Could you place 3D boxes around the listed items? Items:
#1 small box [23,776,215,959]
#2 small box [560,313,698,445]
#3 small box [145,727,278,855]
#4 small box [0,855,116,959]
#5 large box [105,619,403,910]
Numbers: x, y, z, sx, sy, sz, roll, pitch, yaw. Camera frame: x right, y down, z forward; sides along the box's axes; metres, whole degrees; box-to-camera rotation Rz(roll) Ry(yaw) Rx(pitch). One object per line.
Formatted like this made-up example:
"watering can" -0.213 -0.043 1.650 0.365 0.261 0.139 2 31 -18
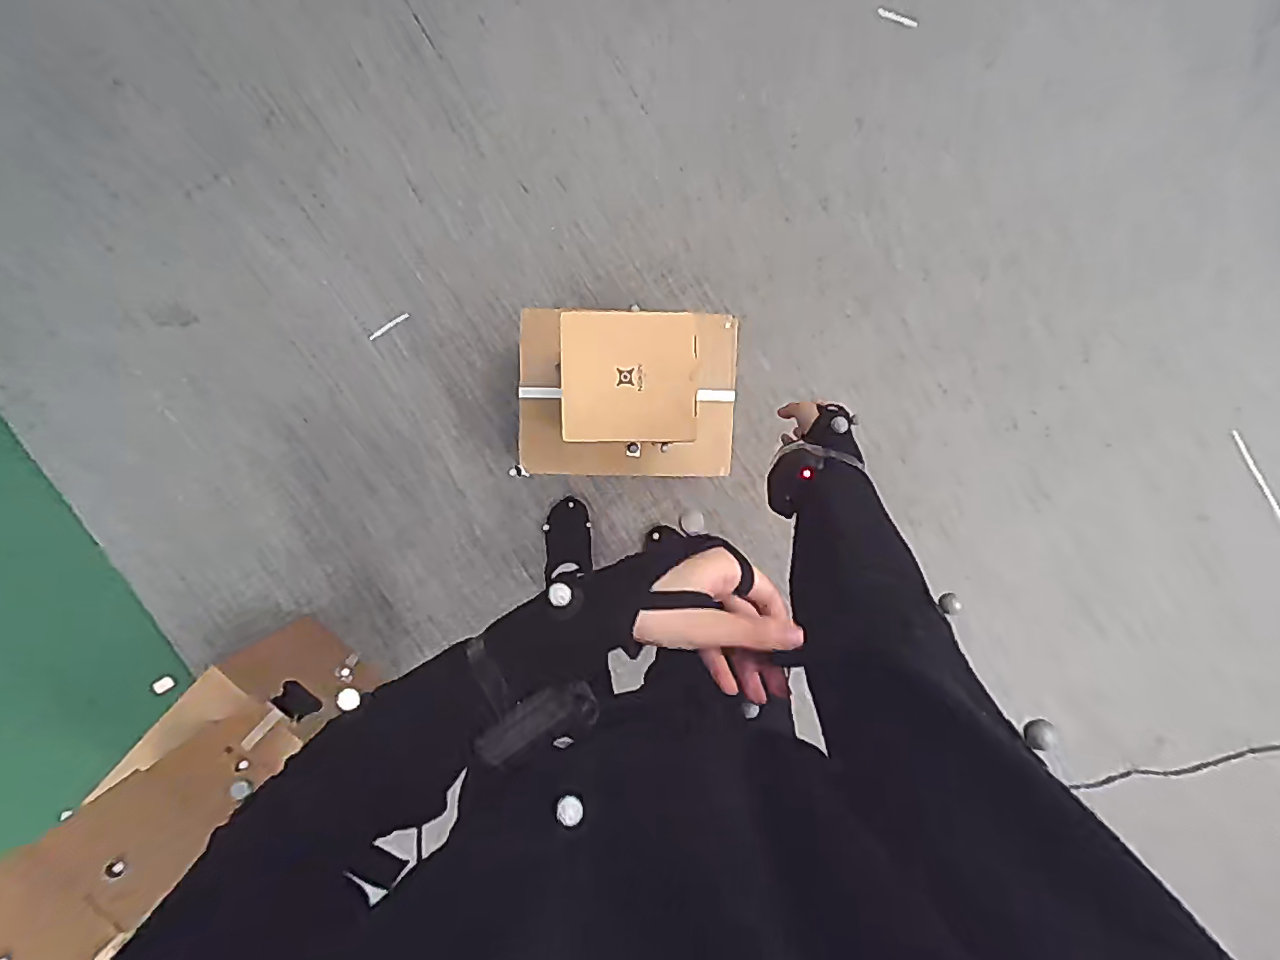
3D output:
"small box" -0.788 0.583 0.788 0.168 0.176 0.179 -42 94 1
"small box" -0.016 -0.134 0.768 0.179 0.176 0.168 -1 93 -3
"small box" -0.797 0.584 0.951 0.179 0.176 0.168 -44 95 1
"small box" -0.788 0.594 0.624 0.168 0.176 0.179 -43 95 1
"large box" -0.821 0.591 1.197 0.320 0.320 0.408 43 93 -2
